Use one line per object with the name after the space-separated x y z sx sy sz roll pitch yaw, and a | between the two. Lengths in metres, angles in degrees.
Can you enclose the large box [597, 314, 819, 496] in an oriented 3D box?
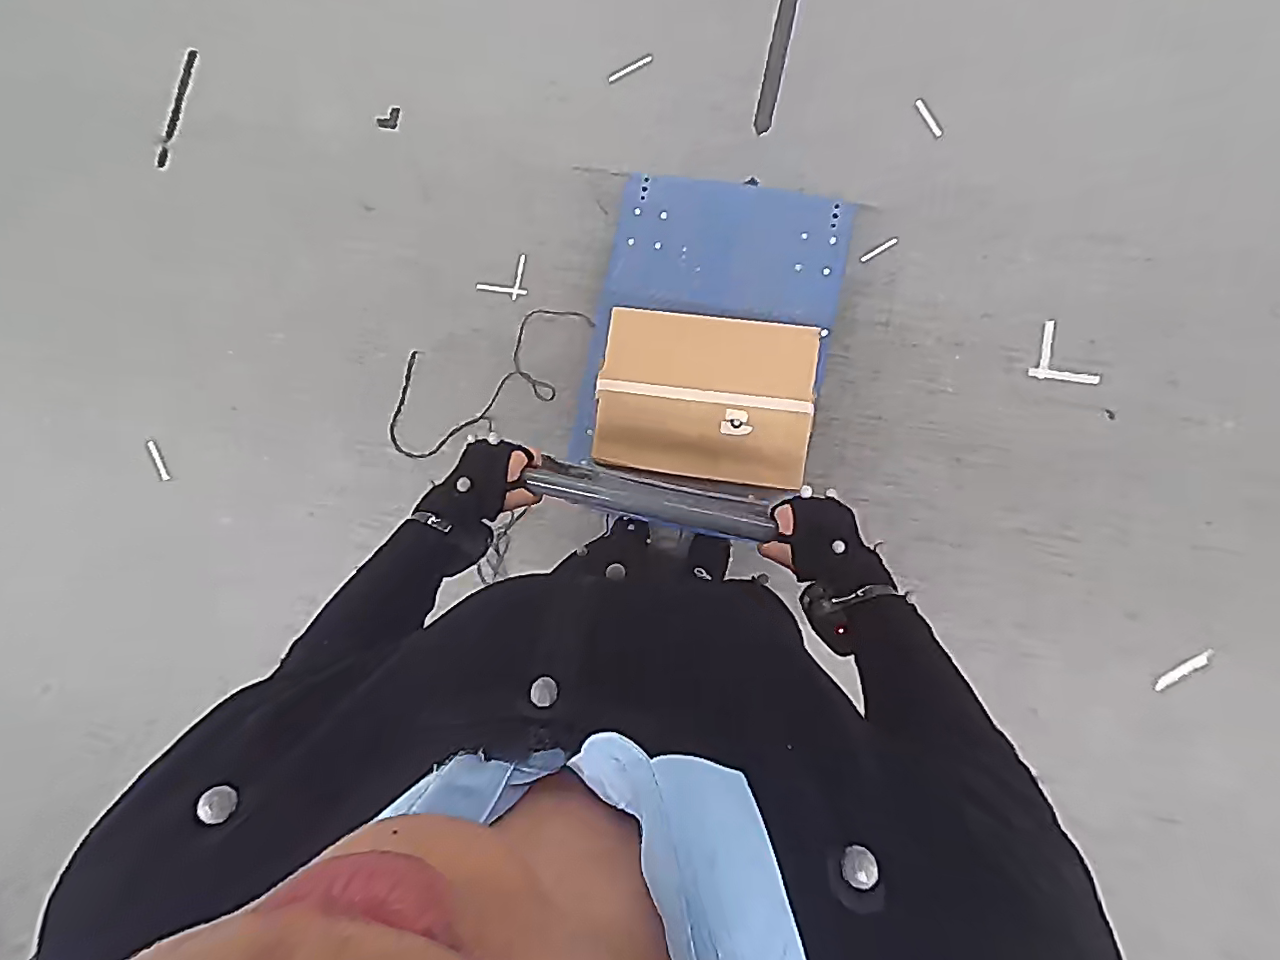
0.139 -0.144 1.189 0.408 0.320 0.320 7 88 5 | large box
